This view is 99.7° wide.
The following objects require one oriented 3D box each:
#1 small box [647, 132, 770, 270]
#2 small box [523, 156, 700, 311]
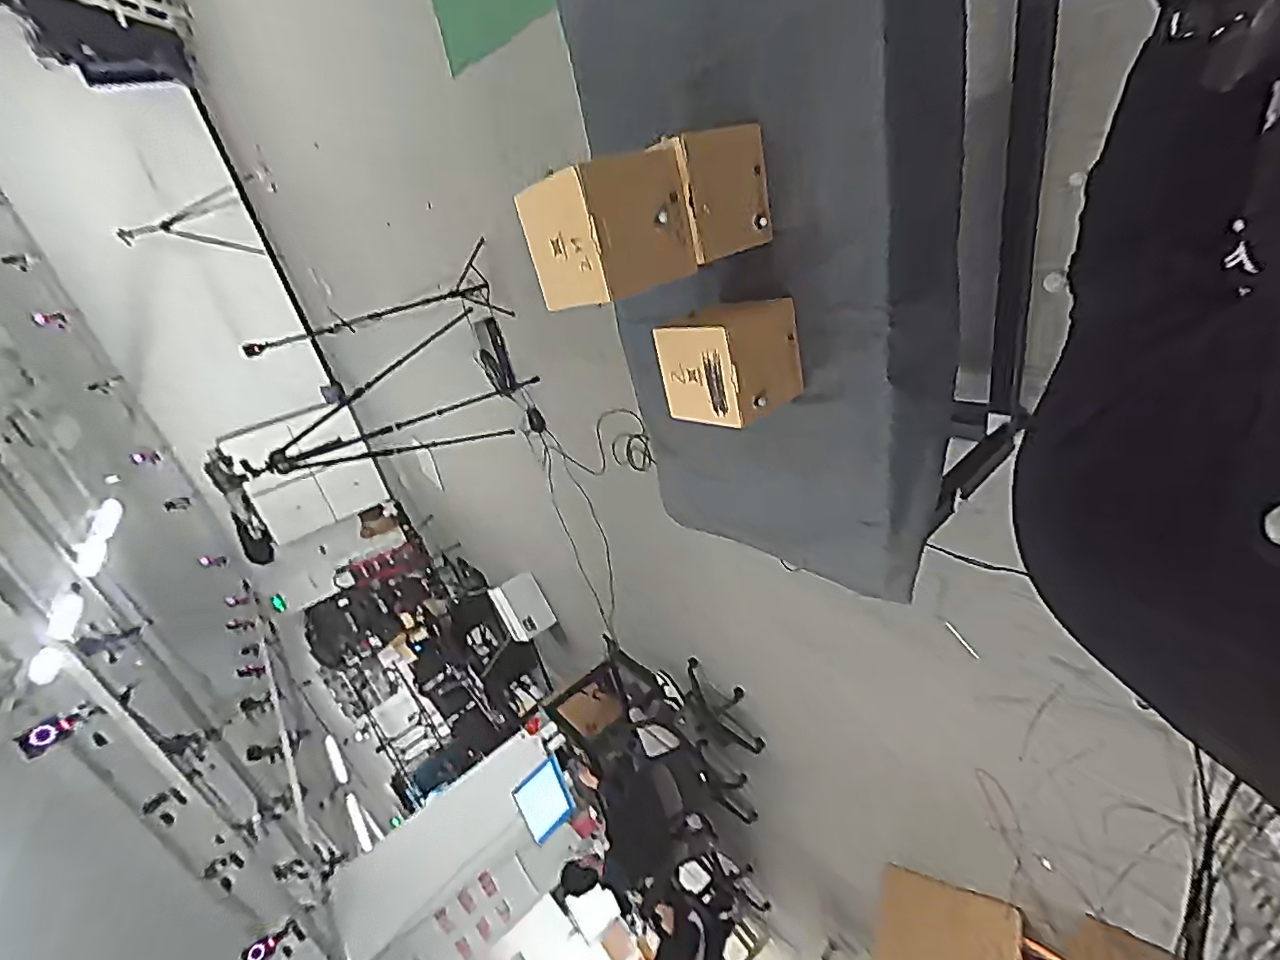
[{"bbox_3d":[0.090,-0.434,0.863,0.179,0.176,0.168,18,129,50],"label":"small box"},{"bbox_3d":[-0.039,-0.357,0.796,0.179,0.176,0.168,15,127,50],"label":"small box"}]
